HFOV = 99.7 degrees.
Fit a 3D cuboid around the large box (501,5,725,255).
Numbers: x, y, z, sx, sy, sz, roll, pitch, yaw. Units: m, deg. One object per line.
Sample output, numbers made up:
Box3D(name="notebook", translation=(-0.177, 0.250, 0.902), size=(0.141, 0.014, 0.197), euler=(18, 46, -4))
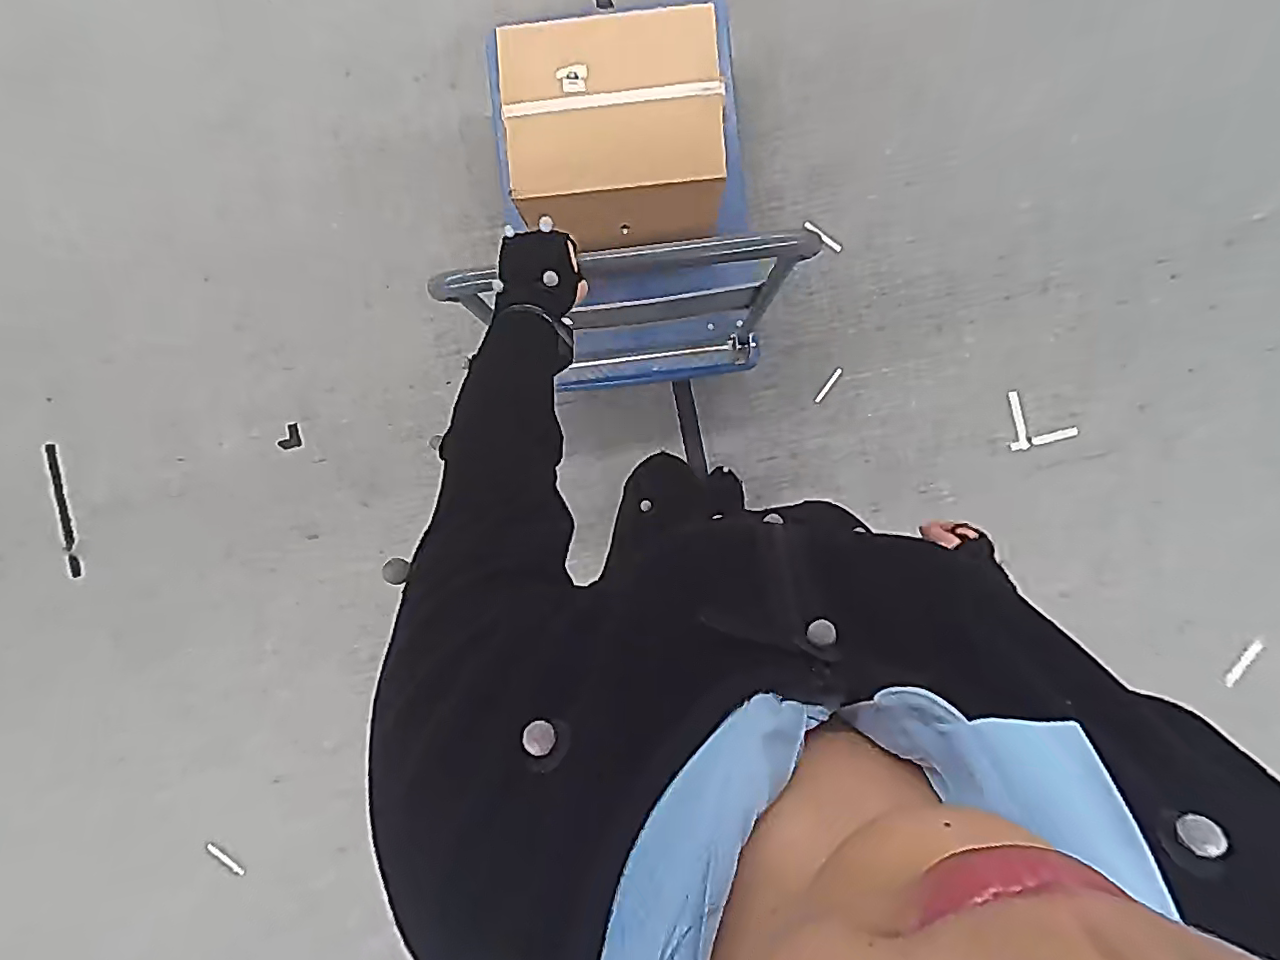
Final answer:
Box3D(name="large box", translation=(-0.041, -0.707, 1.155), size=(0.408, 0.320, 0.320), euler=(-4, 92, 4))
